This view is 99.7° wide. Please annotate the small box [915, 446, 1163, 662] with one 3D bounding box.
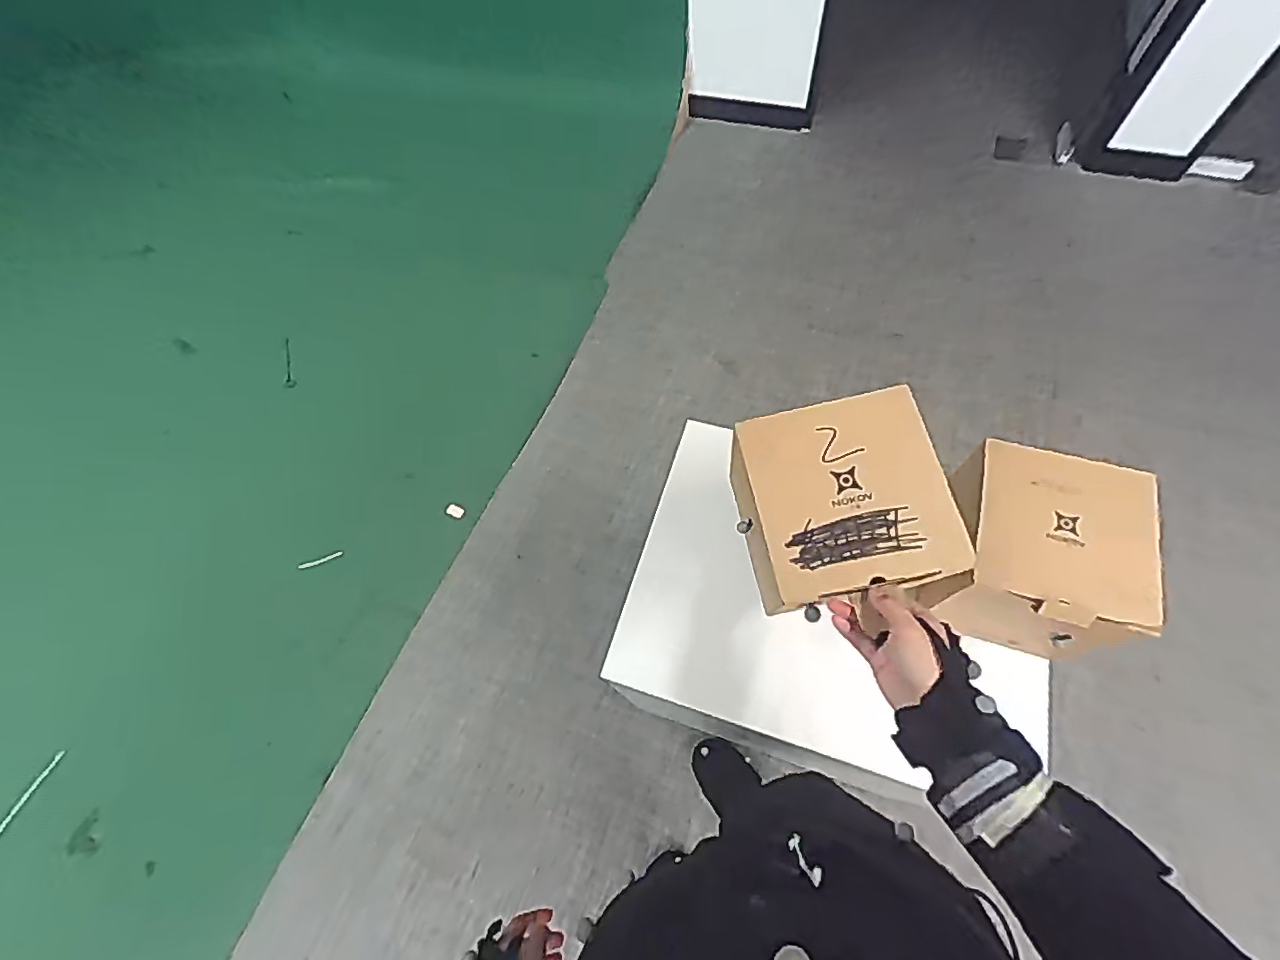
[{"bbox_3d":[0.432,0.091,0.613,0.168,0.176,0.179,15,65,11],"label":"small box"}]
